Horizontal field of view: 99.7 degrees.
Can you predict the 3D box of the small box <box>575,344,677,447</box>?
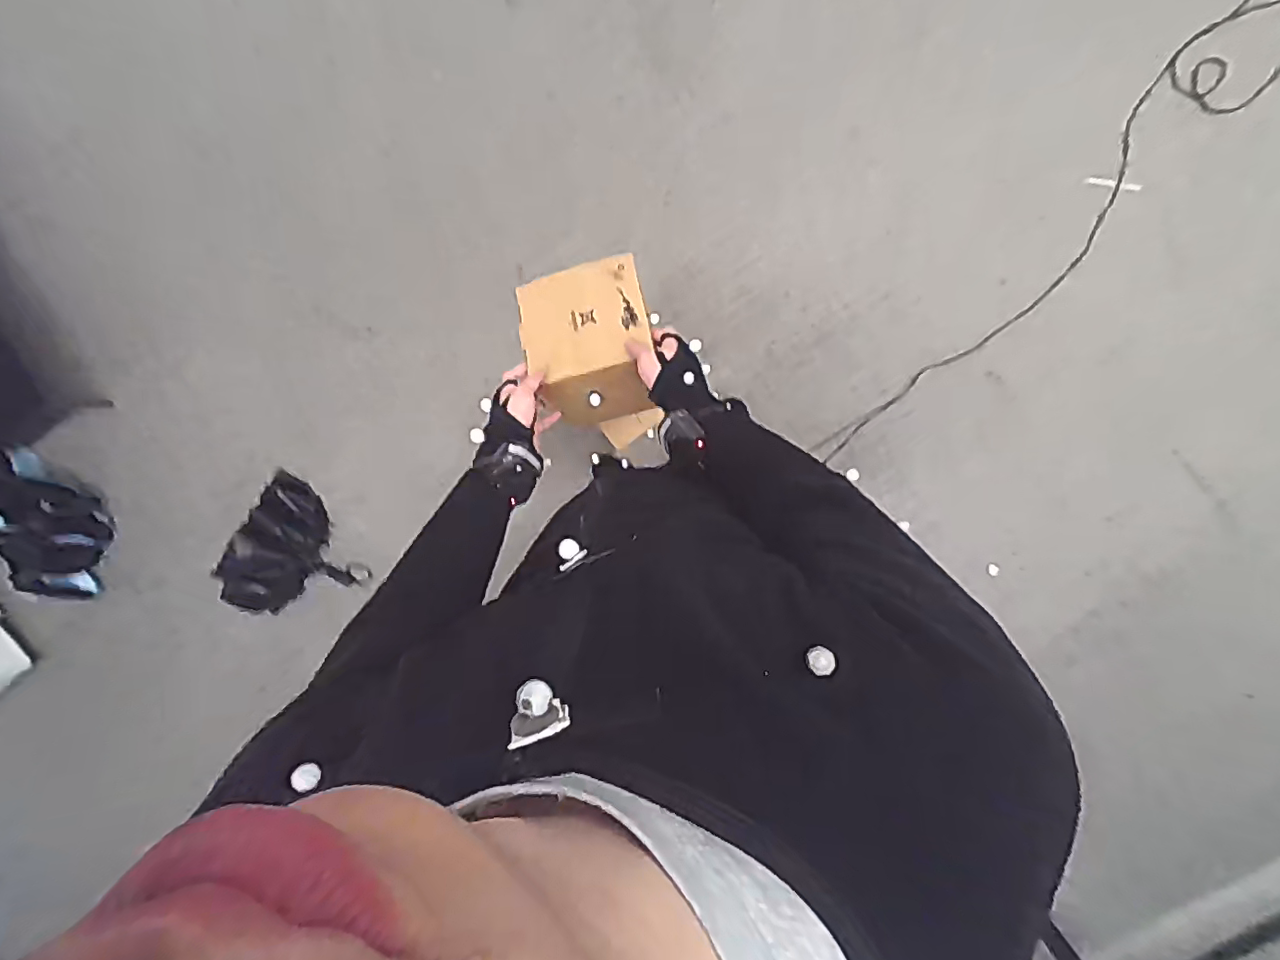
[{"bbox_3d":[-0.027,-0.195,1.283,0.168,0.176,0.179,-36,93,8],"label":"small box"}]
